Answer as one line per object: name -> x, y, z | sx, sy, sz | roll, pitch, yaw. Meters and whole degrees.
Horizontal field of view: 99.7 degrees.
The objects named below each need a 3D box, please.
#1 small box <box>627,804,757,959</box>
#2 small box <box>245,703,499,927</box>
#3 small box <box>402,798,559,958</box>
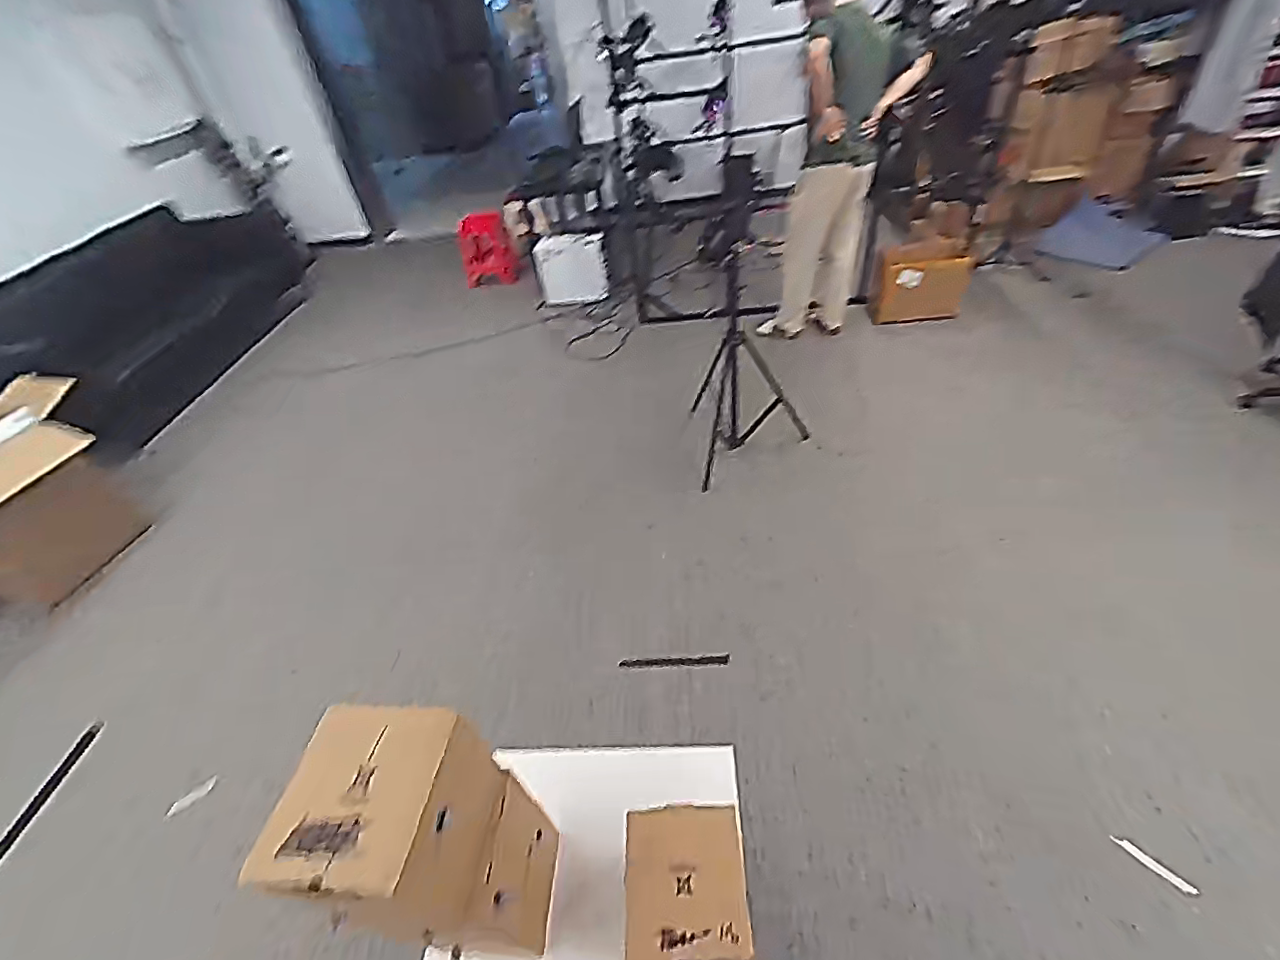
small box -> 0.075, 0.603, 0.793 | 0.168, 0.176, 0.179 | -6, 42, 5
small box -> -0.277, 0.378, 0.613 | 0.168, 0.176, 0.179 | -1, 42, 9
small box -> -0.230, 0.615, 0.837 | 0.168, 0.176, 0.179 | -3, 42, 6
